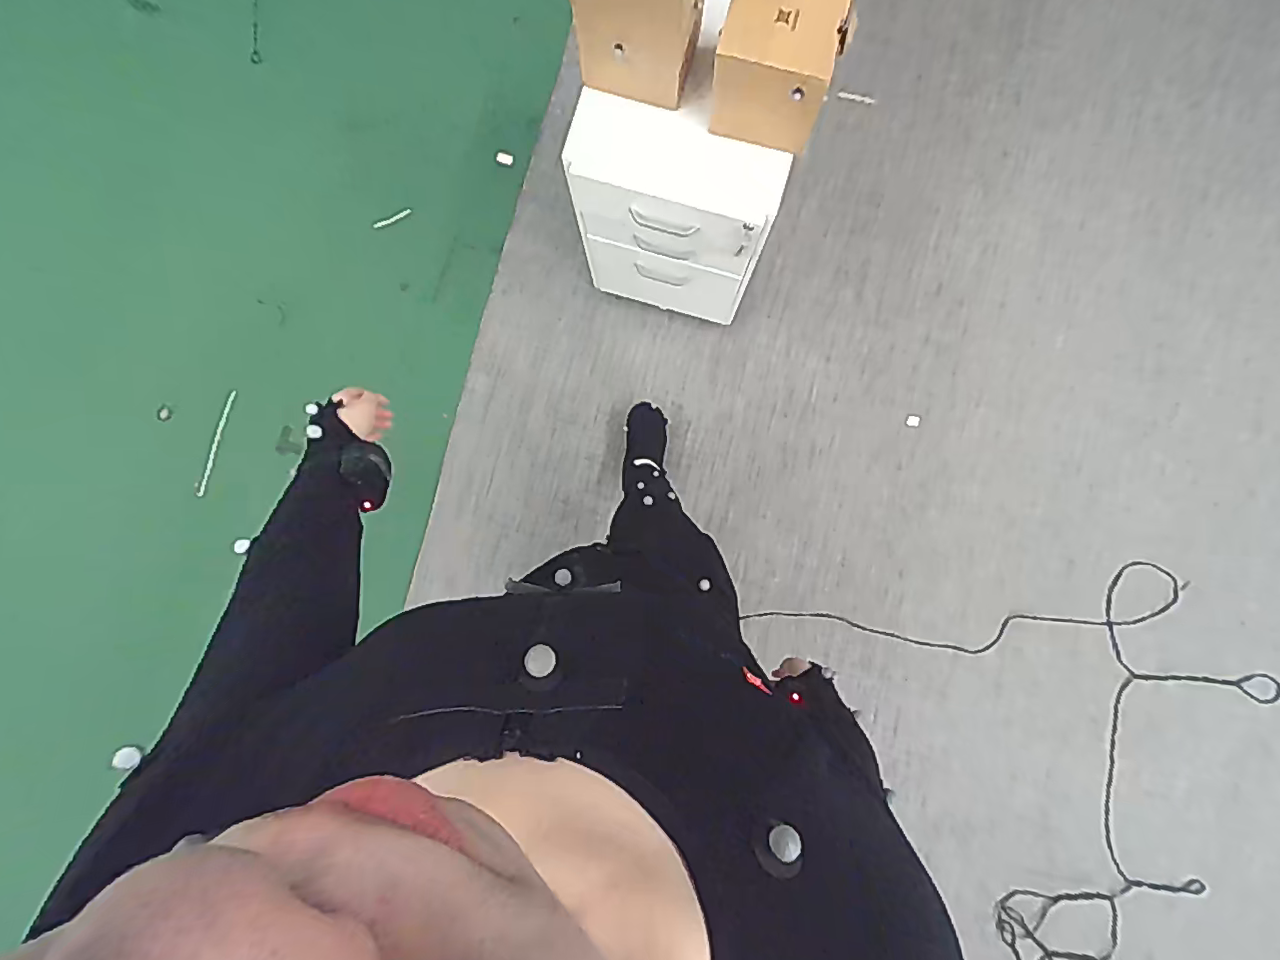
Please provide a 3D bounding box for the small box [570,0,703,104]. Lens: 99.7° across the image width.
[{"bbox_3d":[0.000,-0.759,0.880,0.179,0.176,0.168,16,87,1],"label":"small box"}]
